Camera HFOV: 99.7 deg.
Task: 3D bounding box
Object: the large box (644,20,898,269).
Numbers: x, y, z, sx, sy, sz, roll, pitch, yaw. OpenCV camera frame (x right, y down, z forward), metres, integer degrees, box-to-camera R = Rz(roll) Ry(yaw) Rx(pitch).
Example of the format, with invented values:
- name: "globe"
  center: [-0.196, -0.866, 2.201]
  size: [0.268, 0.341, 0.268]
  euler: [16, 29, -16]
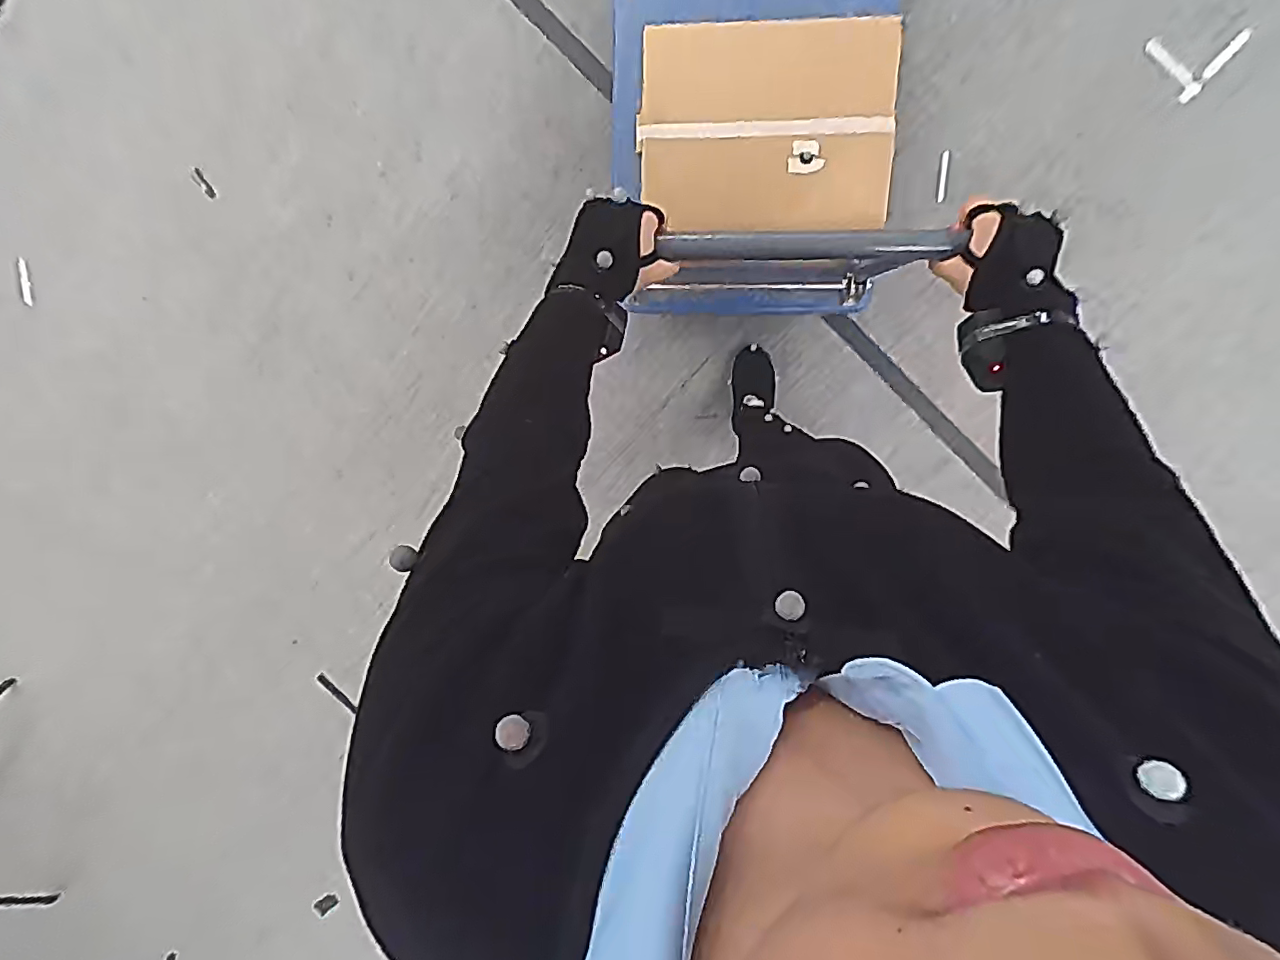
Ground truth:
- name: "large box"
  center: [0.215, -0.597, 1.030]
  size: [0.408, 0.320, 0.320]
  euler: [1, 101, 4]
